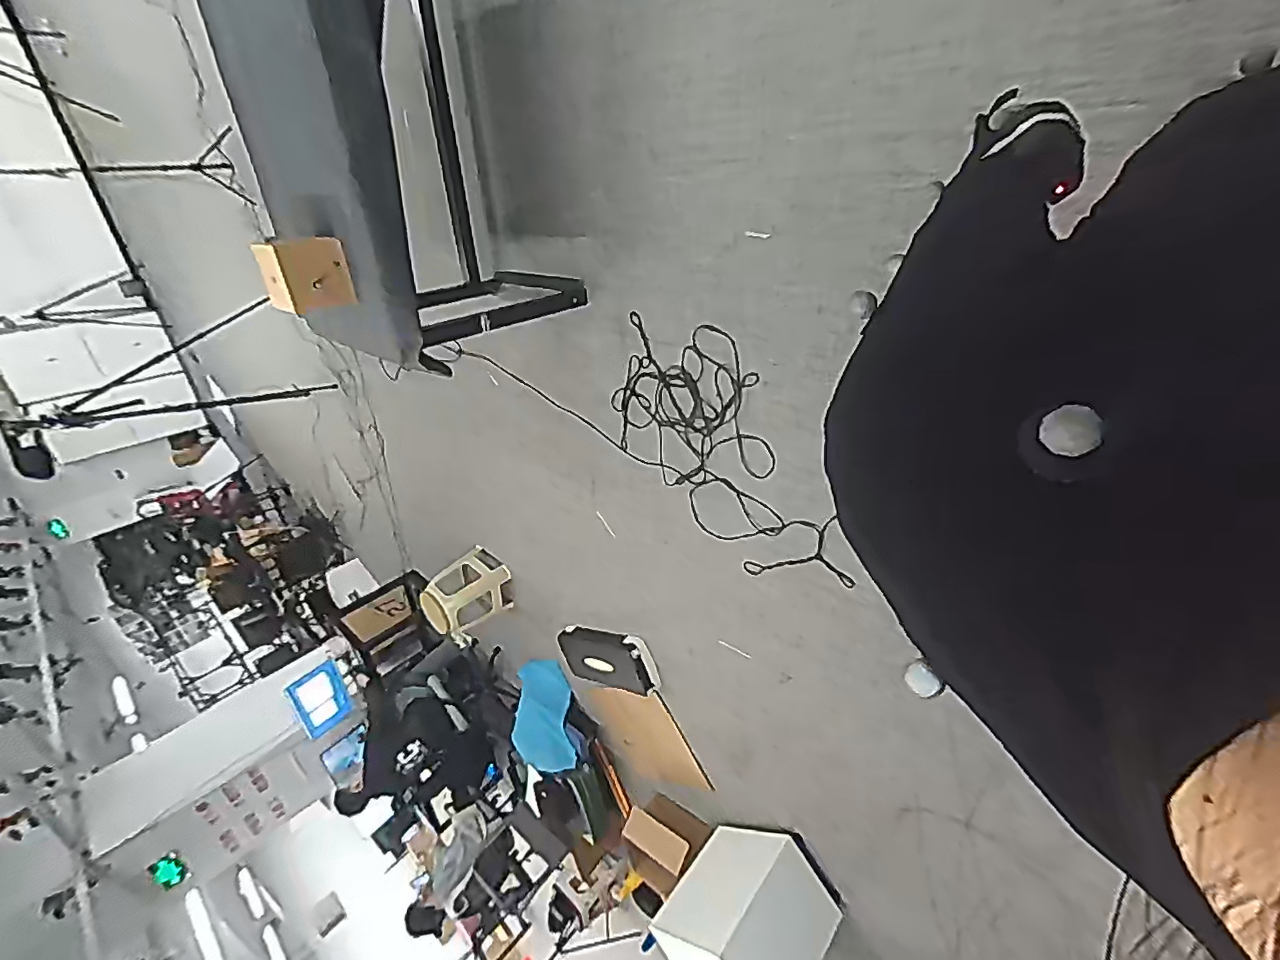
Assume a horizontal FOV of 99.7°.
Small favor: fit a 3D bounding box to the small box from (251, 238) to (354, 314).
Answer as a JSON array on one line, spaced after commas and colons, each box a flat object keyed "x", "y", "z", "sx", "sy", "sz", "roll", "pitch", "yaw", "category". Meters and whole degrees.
[{"x": -0.896, "y": -0.554, "z": 1.452, "sx": 0.179, "sy": 0.176, "sz": 0.168, "roll": 21, "pitch": 127, "yaw": 38, "category": "small box"}]
